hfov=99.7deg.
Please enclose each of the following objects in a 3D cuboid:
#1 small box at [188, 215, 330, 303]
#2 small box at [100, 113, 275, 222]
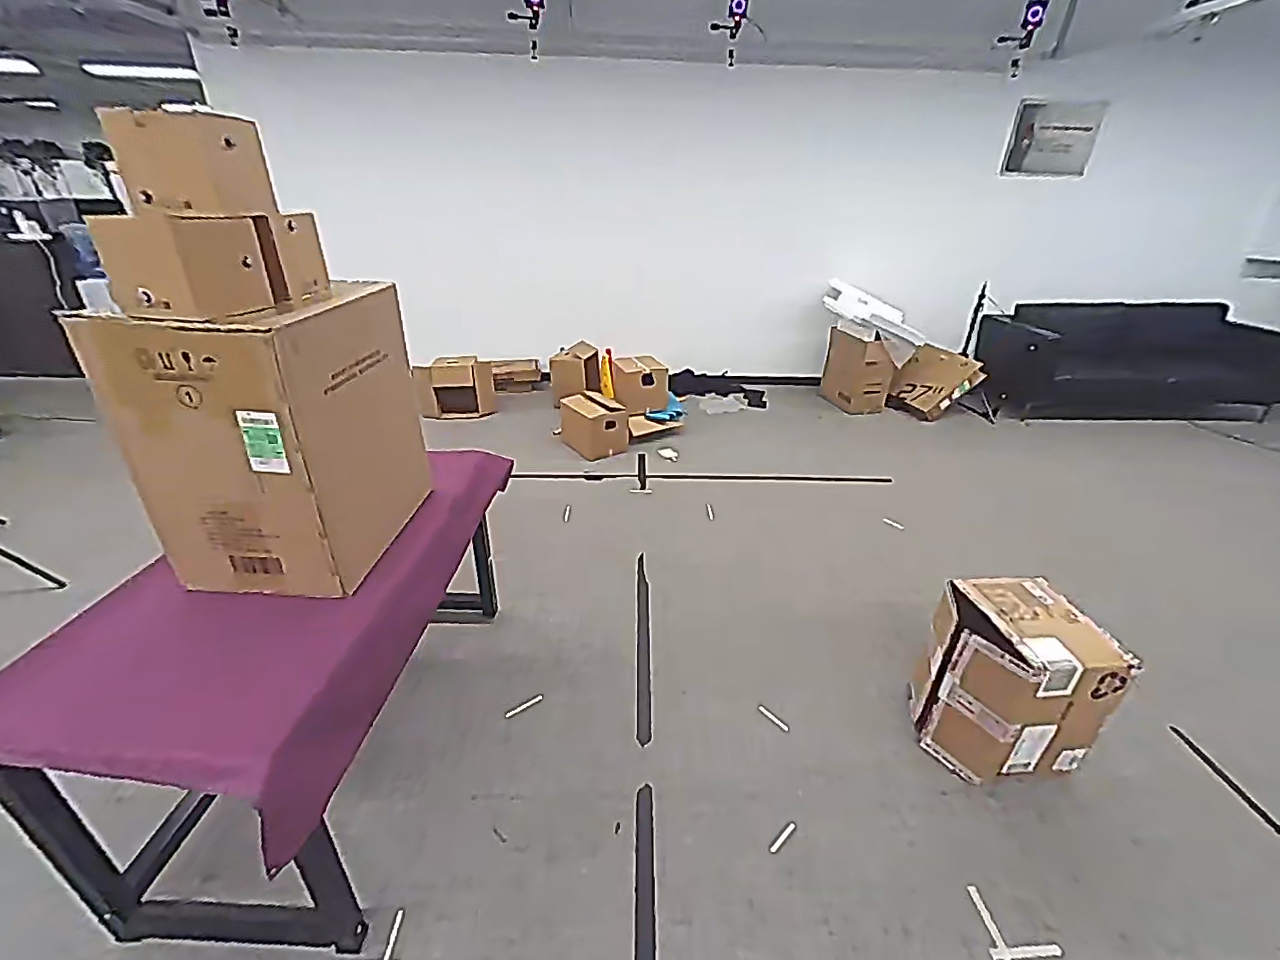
[{"bbox_3d":[-0.837,-0.495,1.209,0.179,0.176,0.168,1,29,1],"label":"small box"},{"bbox_3d":[-0.839,-0.586,1.028,0.168,0.176,0.179,1,27,-1],"label":"small box"}]
